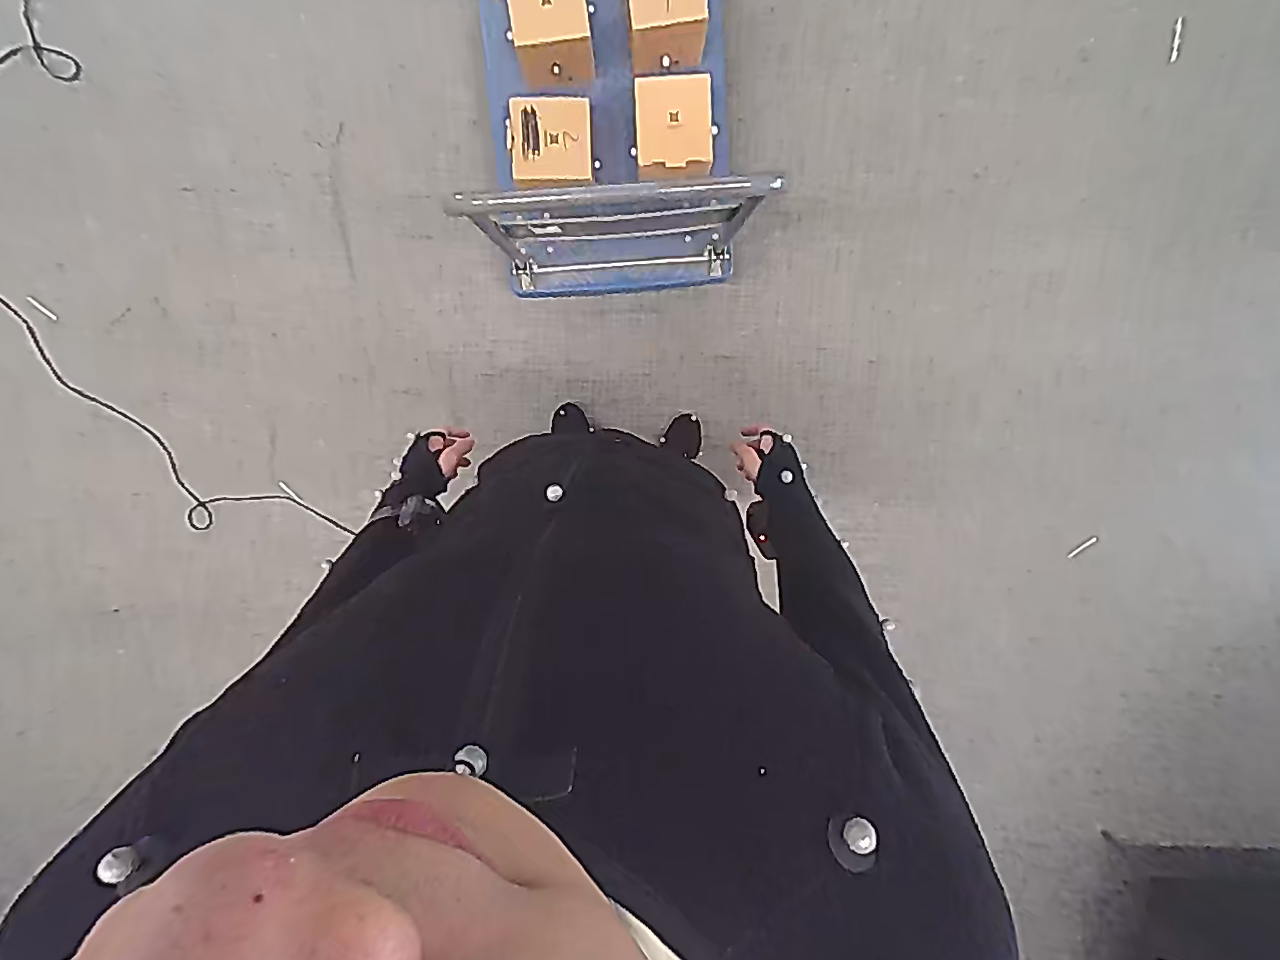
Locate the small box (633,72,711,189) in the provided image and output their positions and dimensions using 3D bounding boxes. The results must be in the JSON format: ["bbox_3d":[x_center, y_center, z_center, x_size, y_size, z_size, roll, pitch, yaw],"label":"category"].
[{"bbox_3d":[0.069,-0.796,1.246,0.168,0.176,0.179,-3,100,0],"label":"small box"}]

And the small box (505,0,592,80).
[{"bbox_3d":[-0.202,-1.027,1.203,0.168,0.176,0.179,-7,99,0],"label":"small box"}]

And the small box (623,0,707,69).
[{"bbox_3d":[0.050,-1.062,1.199,0.168,0.176,0.179,-7,101,2],"label":"small box"}]
